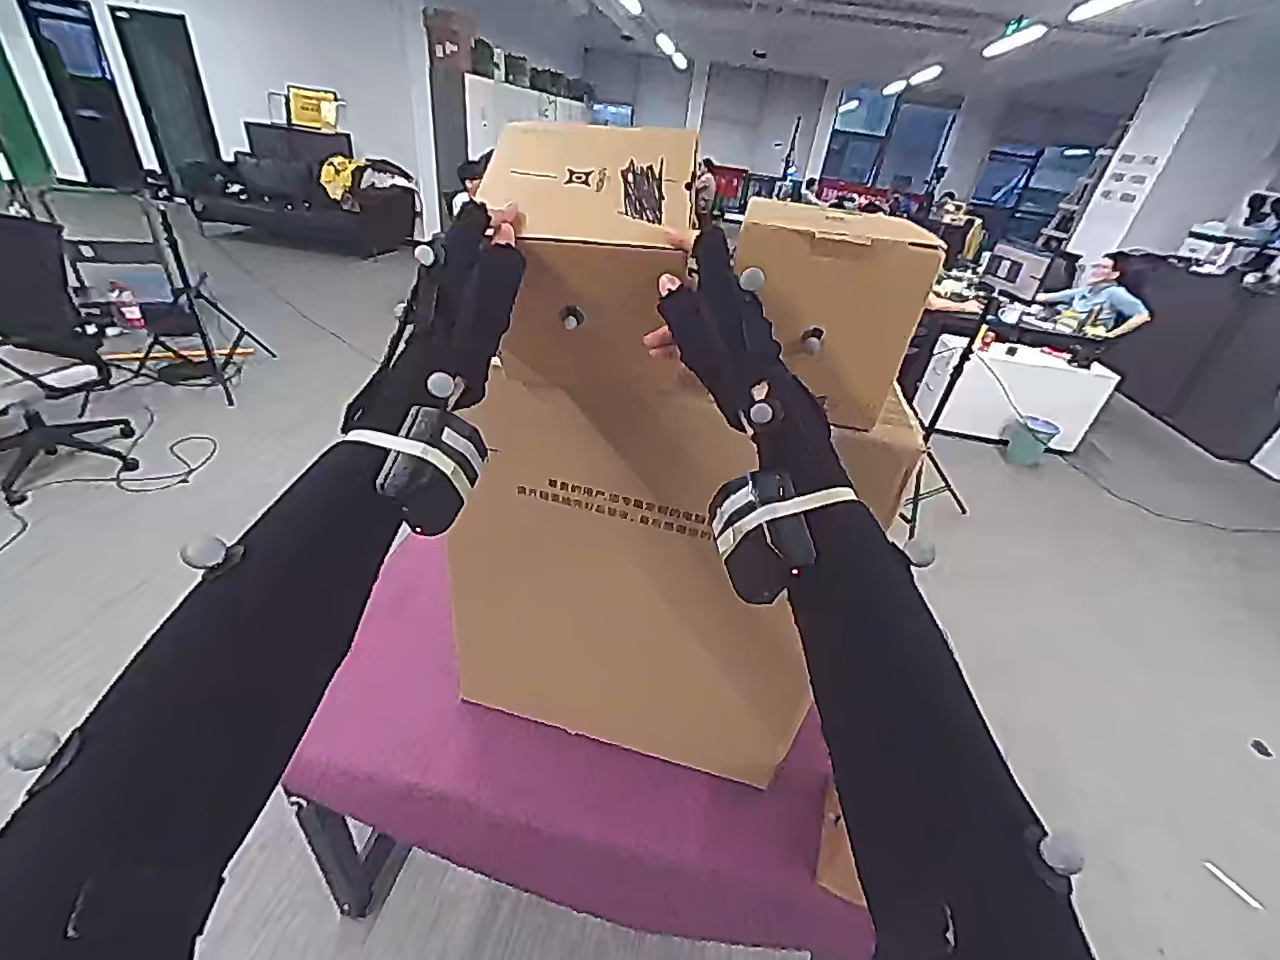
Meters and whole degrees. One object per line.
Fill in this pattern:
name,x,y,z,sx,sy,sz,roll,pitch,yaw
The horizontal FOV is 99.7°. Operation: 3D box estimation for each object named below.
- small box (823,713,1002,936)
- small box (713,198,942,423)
small box,0.363,0.472,0.749,0.168,0.176,0.179,18,32,15
small box,0.174,-0.177,0.556,0.168,0.176,0.179,12,35,6
